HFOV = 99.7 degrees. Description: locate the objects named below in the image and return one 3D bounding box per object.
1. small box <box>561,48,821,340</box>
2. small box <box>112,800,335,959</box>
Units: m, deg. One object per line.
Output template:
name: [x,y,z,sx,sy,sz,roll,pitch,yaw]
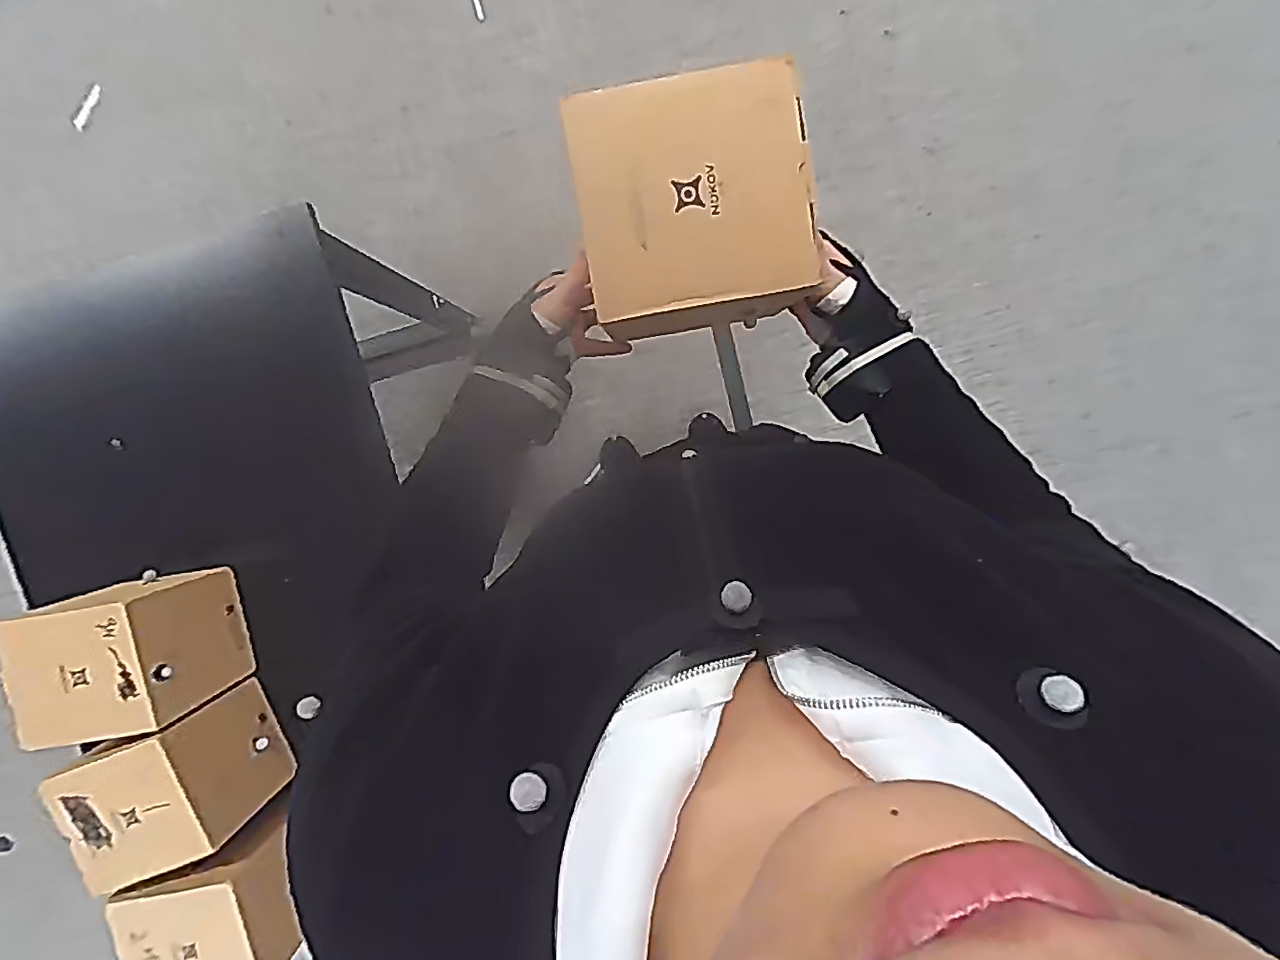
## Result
small box: [0.042,-0.229,0.483,0.179,0.176,0.168,-10,97,4]
small box: [-0.565,0.588,0.765,0.179,0.176,0.168,-12,94,4]
